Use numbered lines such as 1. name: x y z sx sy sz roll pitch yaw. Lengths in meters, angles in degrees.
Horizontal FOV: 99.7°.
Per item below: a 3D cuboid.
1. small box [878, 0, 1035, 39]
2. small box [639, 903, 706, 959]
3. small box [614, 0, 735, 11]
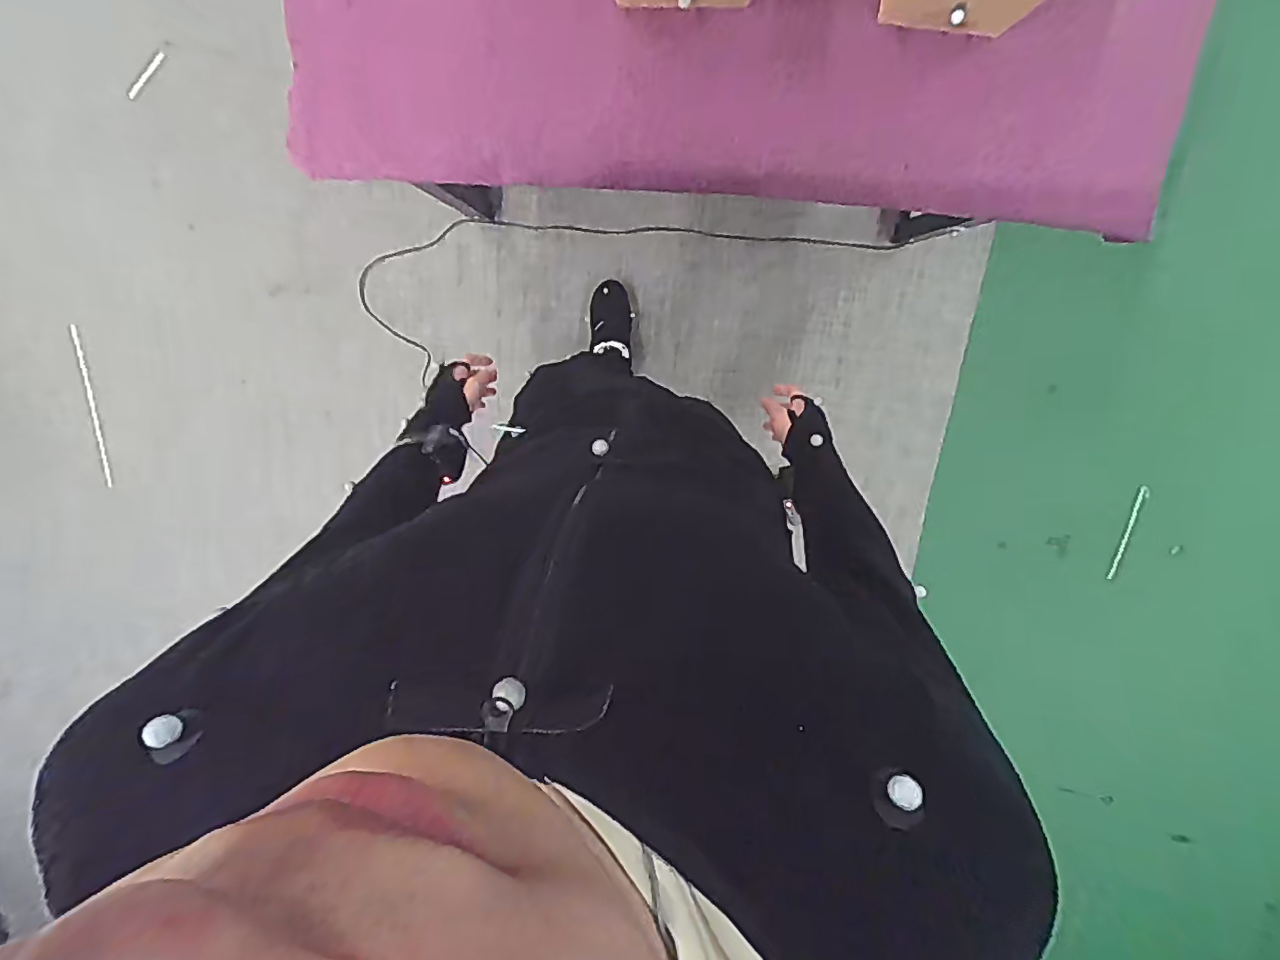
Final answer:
1. small box: 0.397 -0.656 0.615 0.168 0.176 0.179 6 106 -1
2. small box: 0.091 1.340 1.527 0.179 0.176 0.168 5 106 0
3. small box: 0.052 -0.671 0.609 0.179 0.176 0.168 0 106 0
